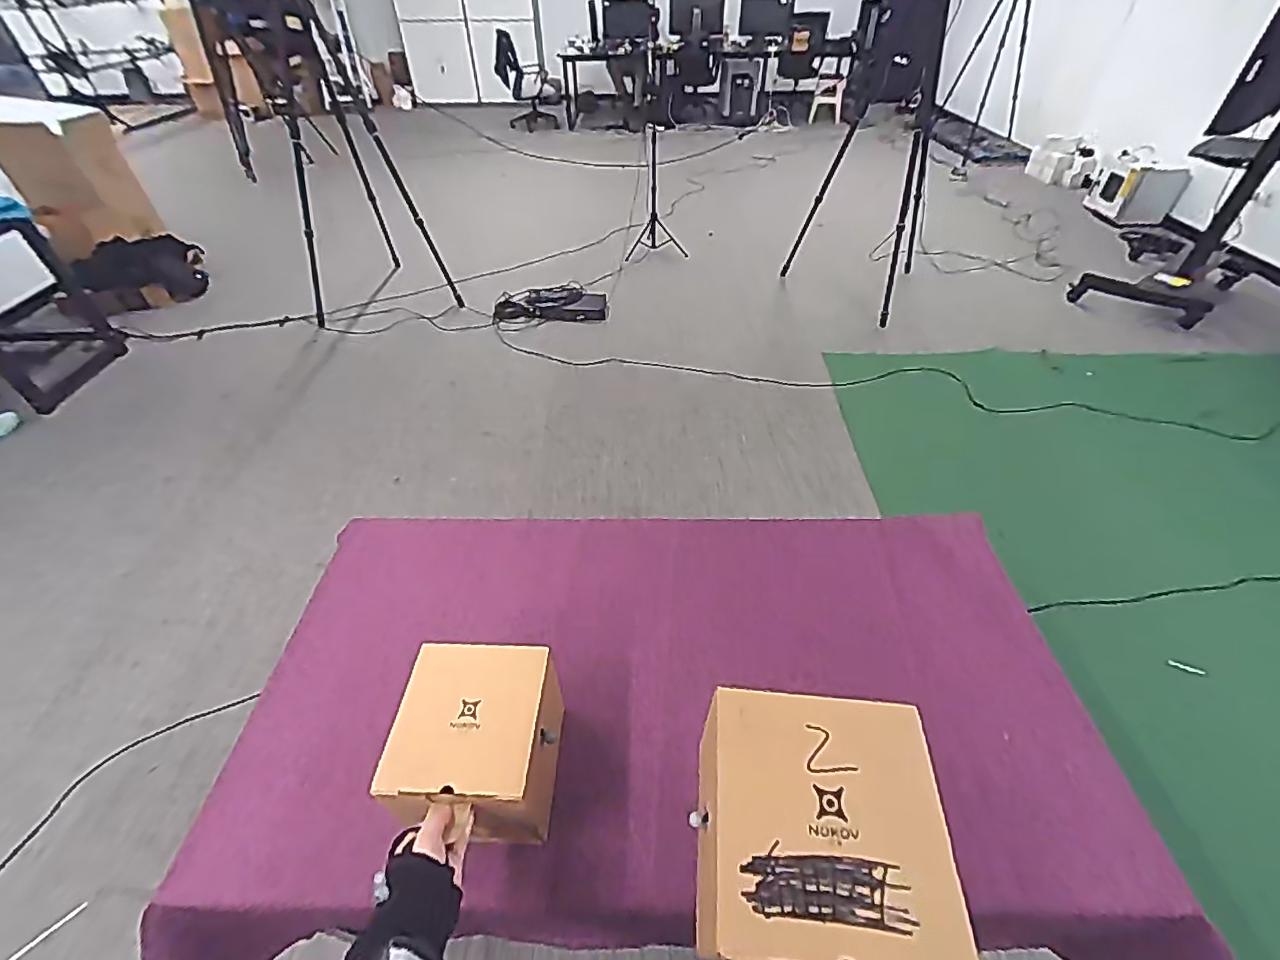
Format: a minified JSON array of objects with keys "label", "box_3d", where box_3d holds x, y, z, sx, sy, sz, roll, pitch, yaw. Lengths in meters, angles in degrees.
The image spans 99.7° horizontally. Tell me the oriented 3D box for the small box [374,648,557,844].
[{"label":"small box","box_3d":[-0.204,0.339,0.693,0.168,0.176,0.179,1,44,2]}]
